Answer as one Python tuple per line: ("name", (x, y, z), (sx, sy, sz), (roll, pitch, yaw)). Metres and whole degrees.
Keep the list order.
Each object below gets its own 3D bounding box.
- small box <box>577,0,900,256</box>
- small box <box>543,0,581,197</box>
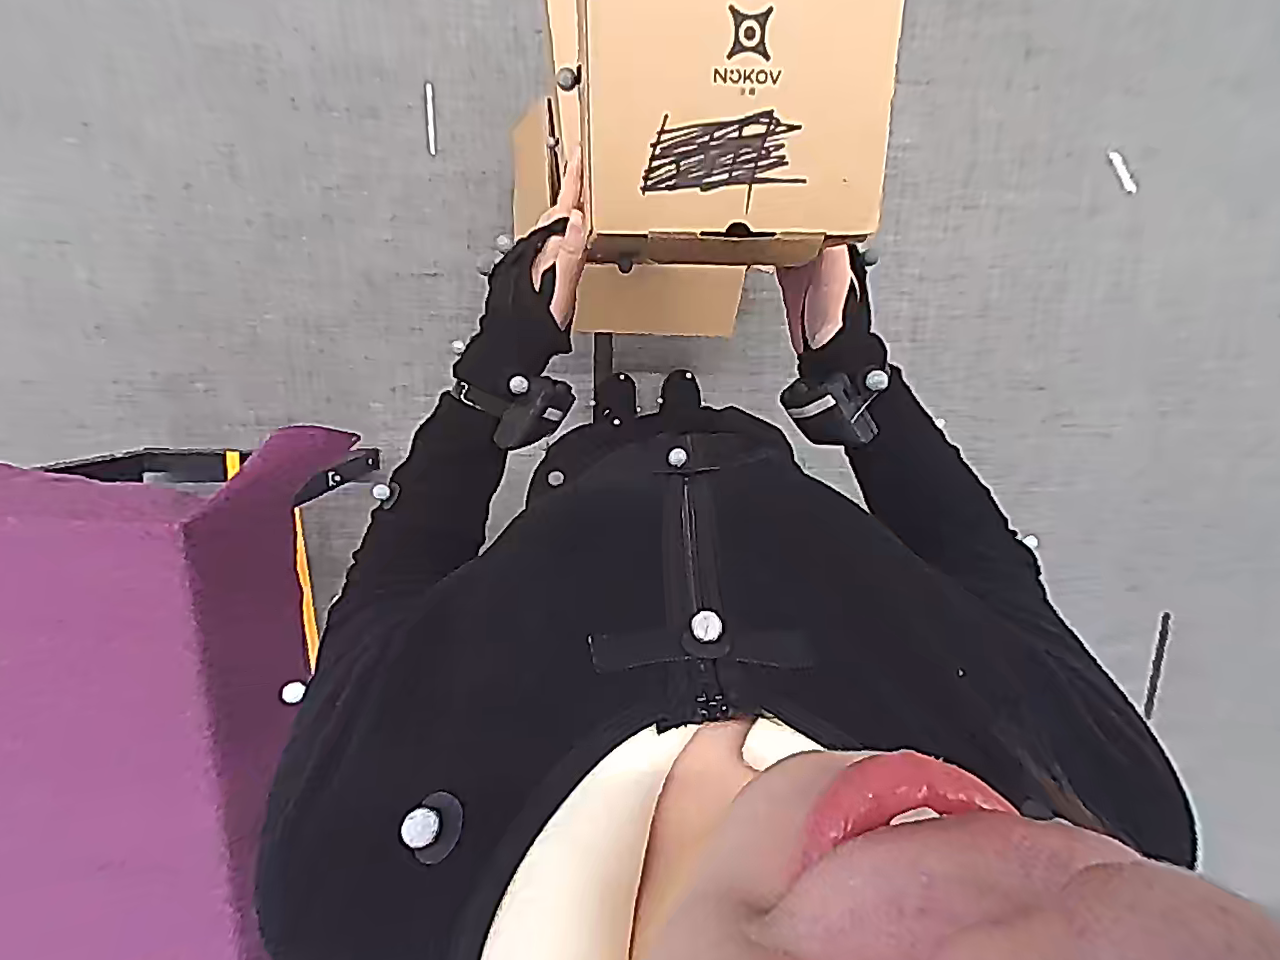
("small box", (0.044, -0.246, 0.354), (0.168, 0.176, 0.179), (-2, 108, -7))
("small box", (-0.021, -0.448, 0.642), (0.168, 0.176, 0.179), (-7, 105, -7))
